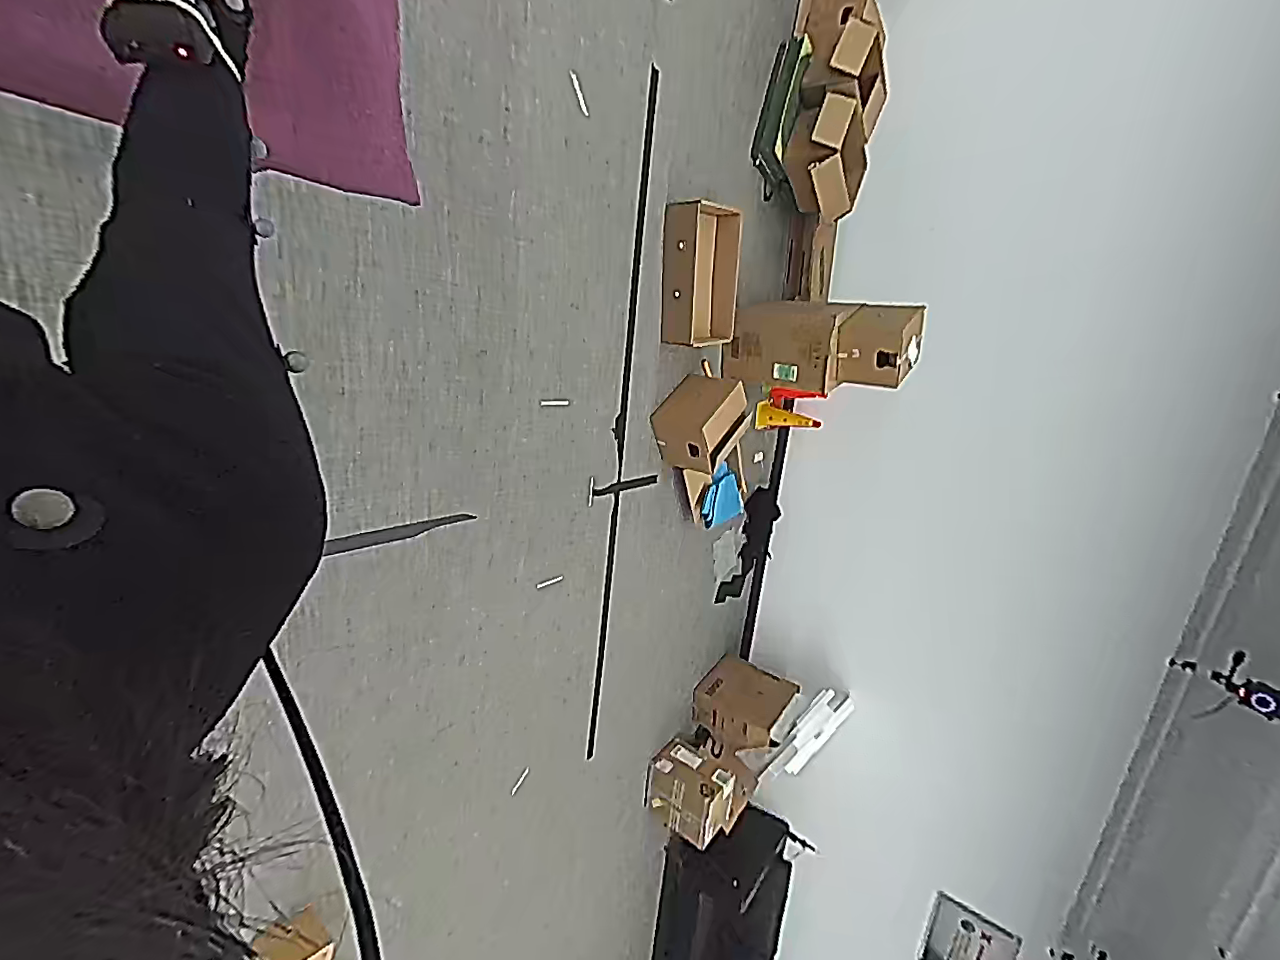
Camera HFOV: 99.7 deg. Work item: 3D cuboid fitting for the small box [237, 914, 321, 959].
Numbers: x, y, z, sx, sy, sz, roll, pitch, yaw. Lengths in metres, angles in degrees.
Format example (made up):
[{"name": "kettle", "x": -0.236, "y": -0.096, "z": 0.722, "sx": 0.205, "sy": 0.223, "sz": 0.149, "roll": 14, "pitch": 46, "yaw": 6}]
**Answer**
[{"name": "small box", "x": -1.137, "y": 1.522, "z": 1.682, "sx": 0.179, "sy": 0.176, "sz": 0.168, "roll": 9, "pitch": 97, "yaw": -56}]
